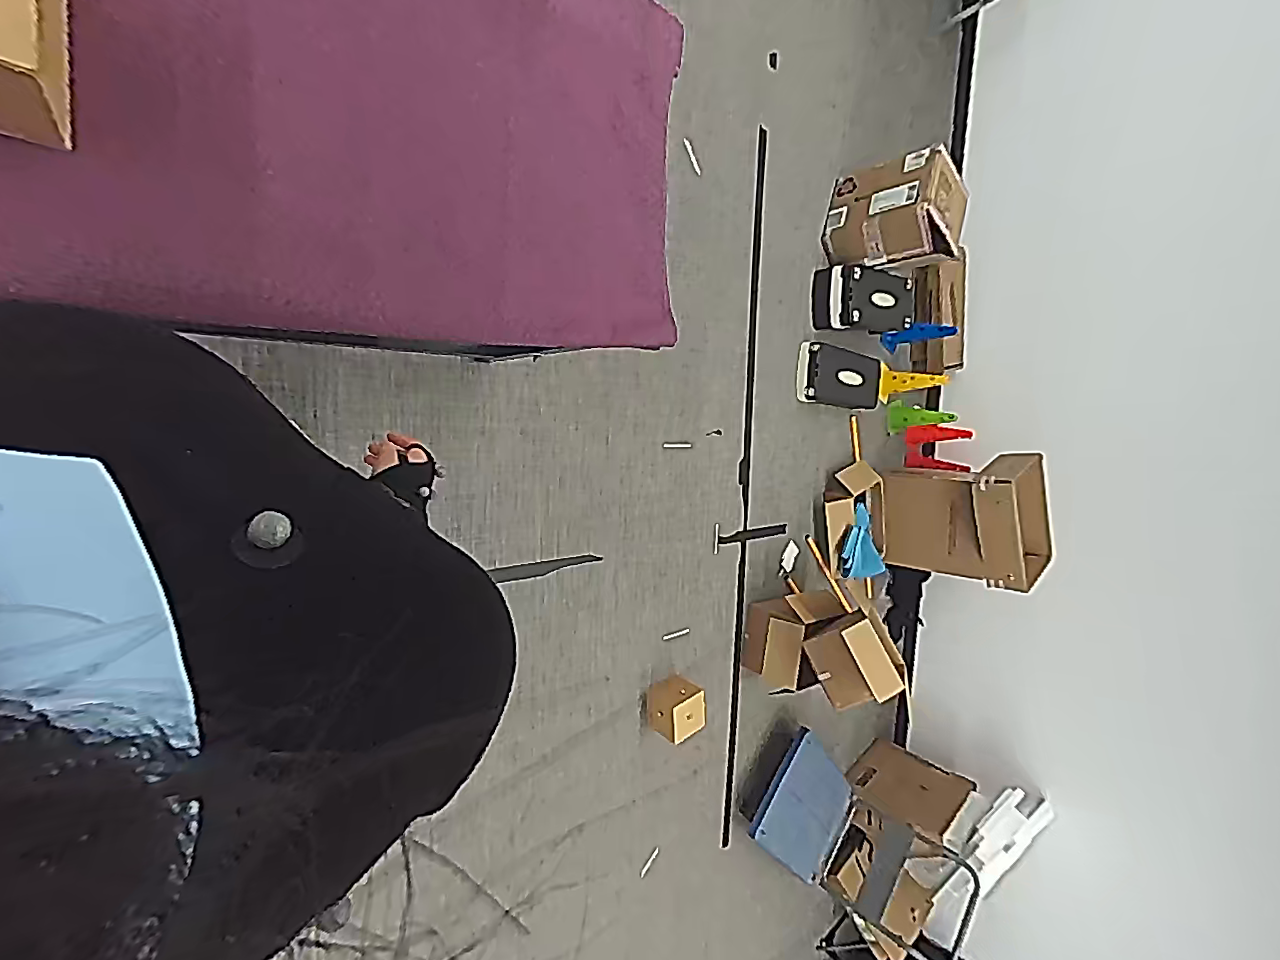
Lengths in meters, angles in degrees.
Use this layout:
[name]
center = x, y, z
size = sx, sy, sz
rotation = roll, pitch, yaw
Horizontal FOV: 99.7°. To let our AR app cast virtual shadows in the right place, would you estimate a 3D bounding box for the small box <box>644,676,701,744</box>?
[small box]
center = 0.126, 0.933, 2.205
size = 0.179, 0.176, 0.168
rotation = -13, 105, -40
